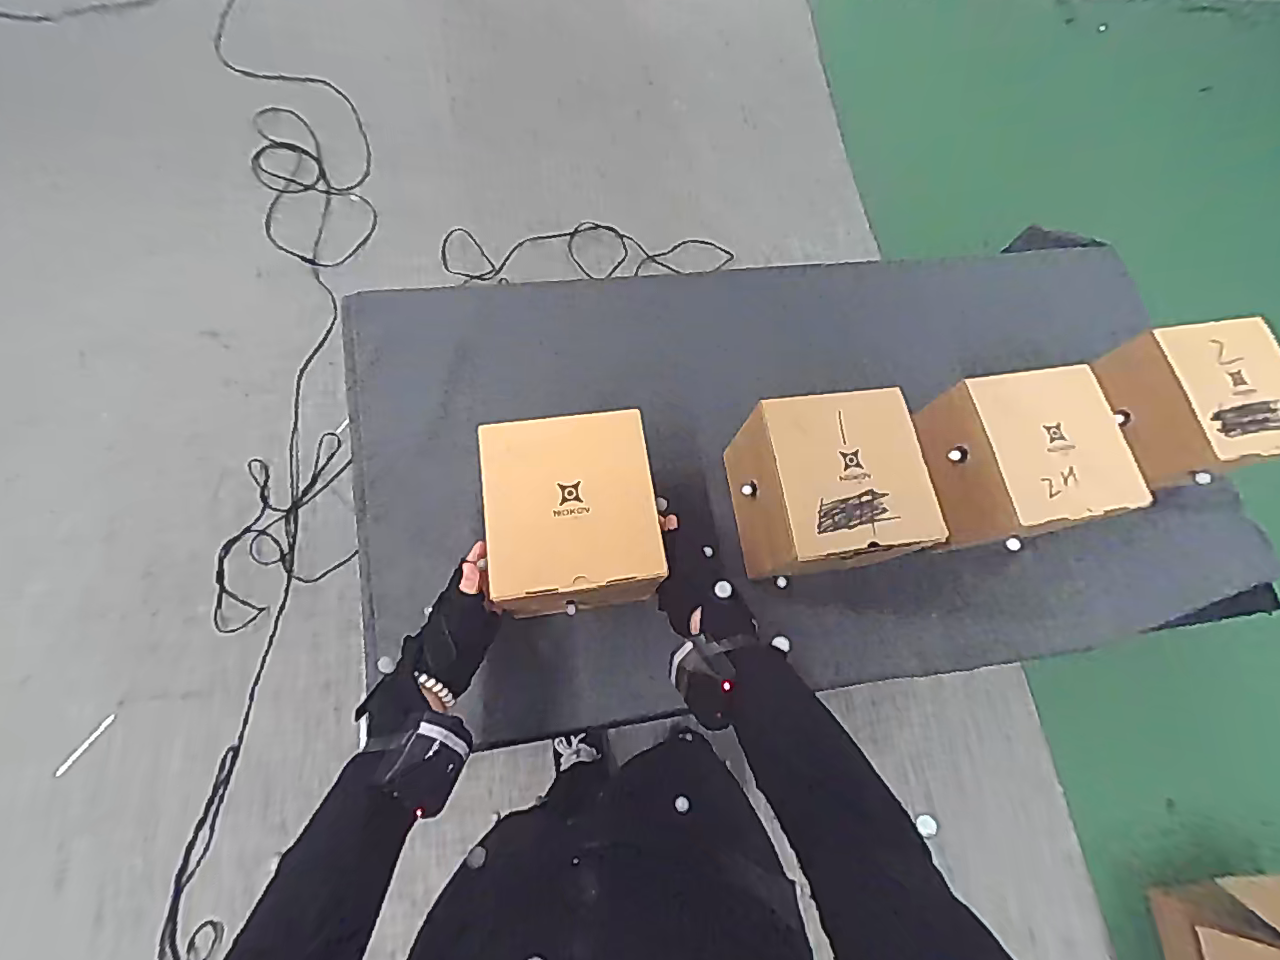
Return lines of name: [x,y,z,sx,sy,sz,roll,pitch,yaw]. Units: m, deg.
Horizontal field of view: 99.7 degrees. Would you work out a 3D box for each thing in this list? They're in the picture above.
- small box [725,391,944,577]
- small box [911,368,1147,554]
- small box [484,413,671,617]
small box: [0.211,0.015,0.640,0.168,0.176,0.179,-6,73,-8]
small box: [0.450,-0.017,0.676,0.168,0.176,0.179,-8,73,-8]
small box: [-0.073,0.046,0.598,0.168,0.176,0.179,-7,73,-9]
